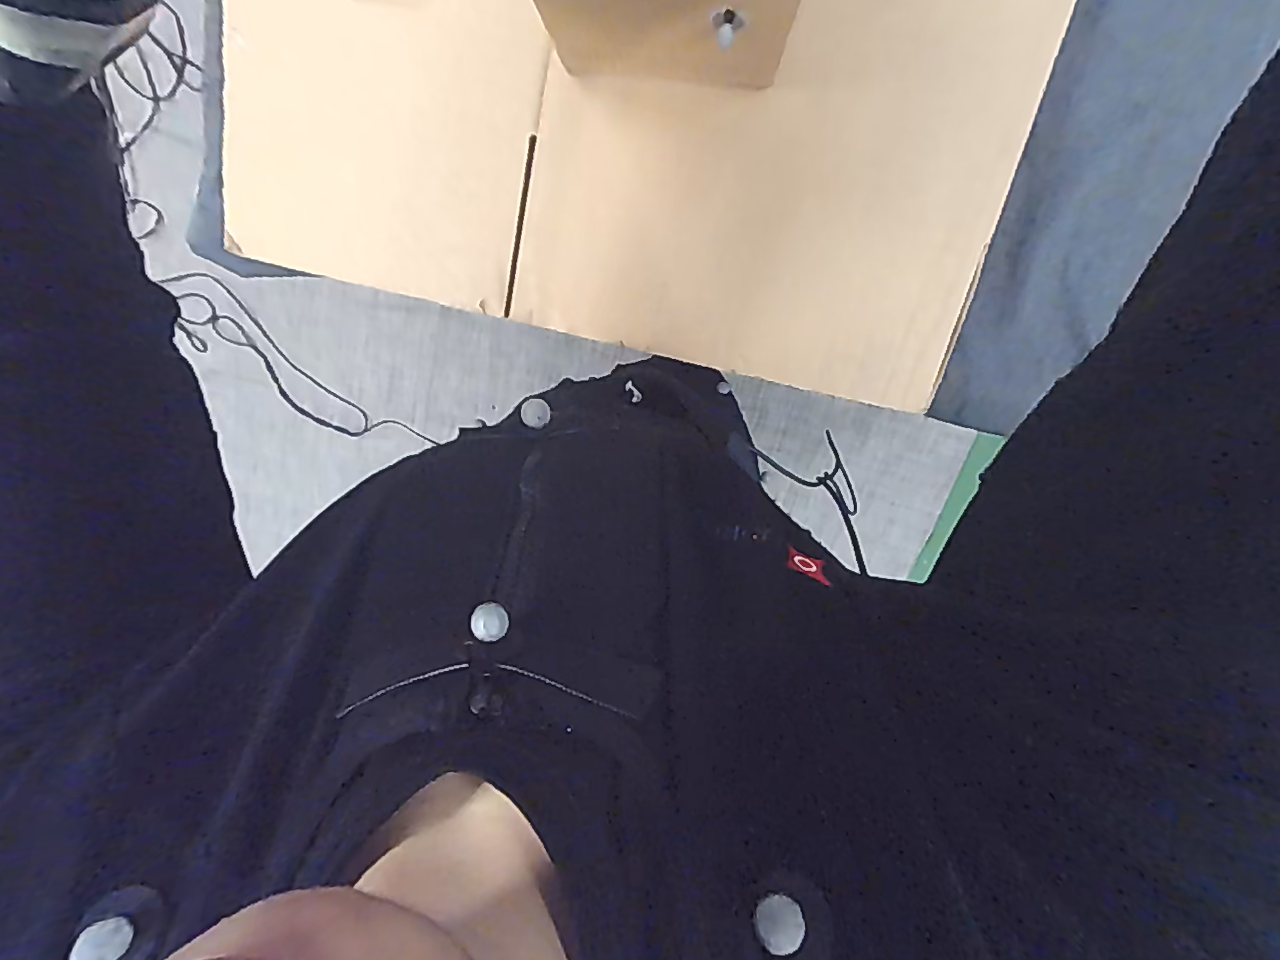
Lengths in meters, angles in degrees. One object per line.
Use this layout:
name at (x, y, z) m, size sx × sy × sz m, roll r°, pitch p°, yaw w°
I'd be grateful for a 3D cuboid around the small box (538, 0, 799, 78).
small box at (0.025, -0.385, 0.338) m, size 0.179 × 0.176 × 0.168 m, roll 7°, pitch 104°, yaw 4°
